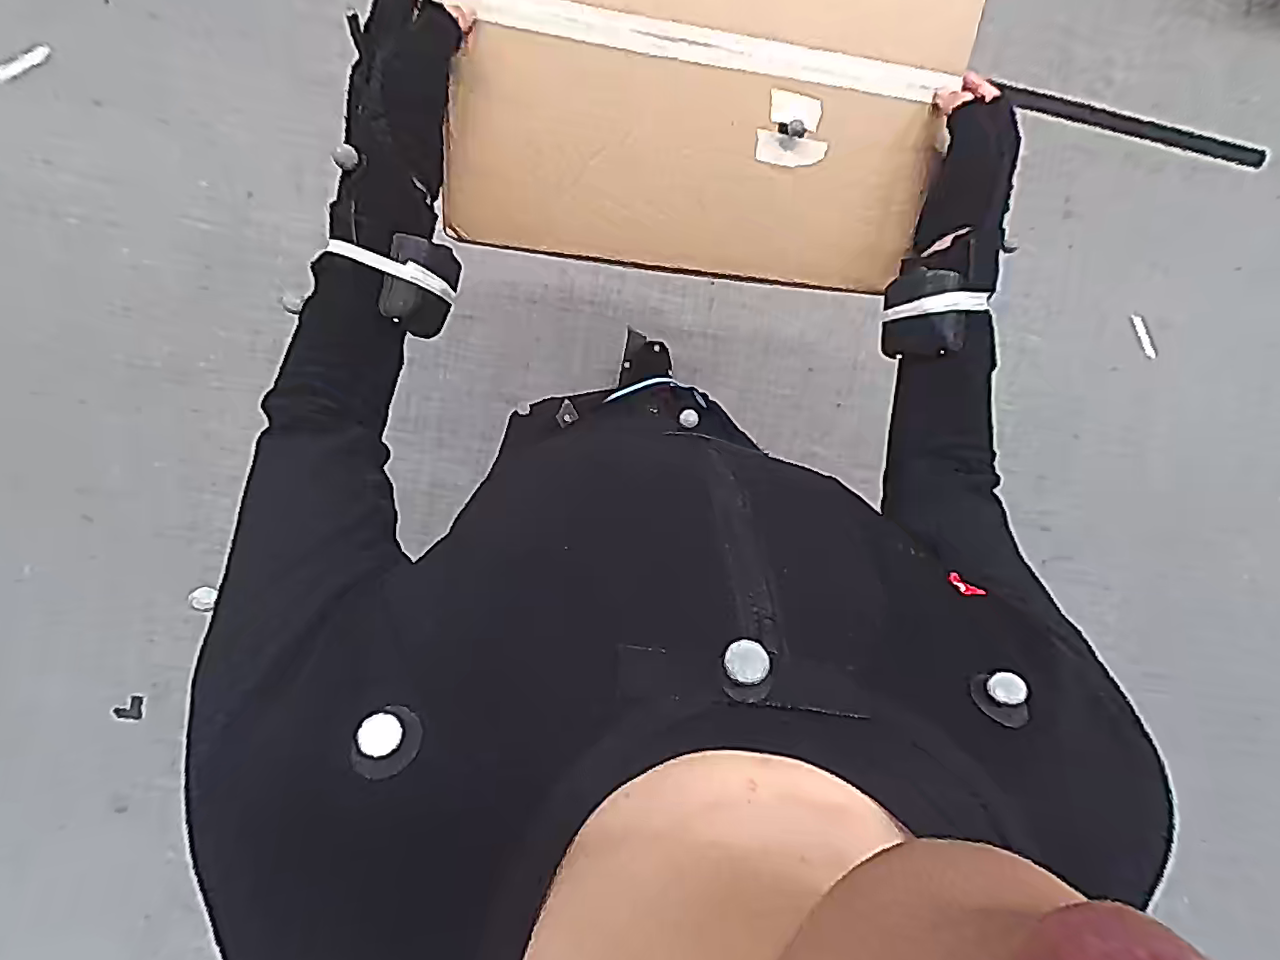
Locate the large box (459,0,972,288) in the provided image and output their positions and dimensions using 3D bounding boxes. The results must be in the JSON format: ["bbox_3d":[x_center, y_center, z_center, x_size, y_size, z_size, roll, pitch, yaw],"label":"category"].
[{"bbox_3d":[0.041,-0.388,0.562,0.408,0.320,0.320,4,112,-10],"label":"large box"}]
